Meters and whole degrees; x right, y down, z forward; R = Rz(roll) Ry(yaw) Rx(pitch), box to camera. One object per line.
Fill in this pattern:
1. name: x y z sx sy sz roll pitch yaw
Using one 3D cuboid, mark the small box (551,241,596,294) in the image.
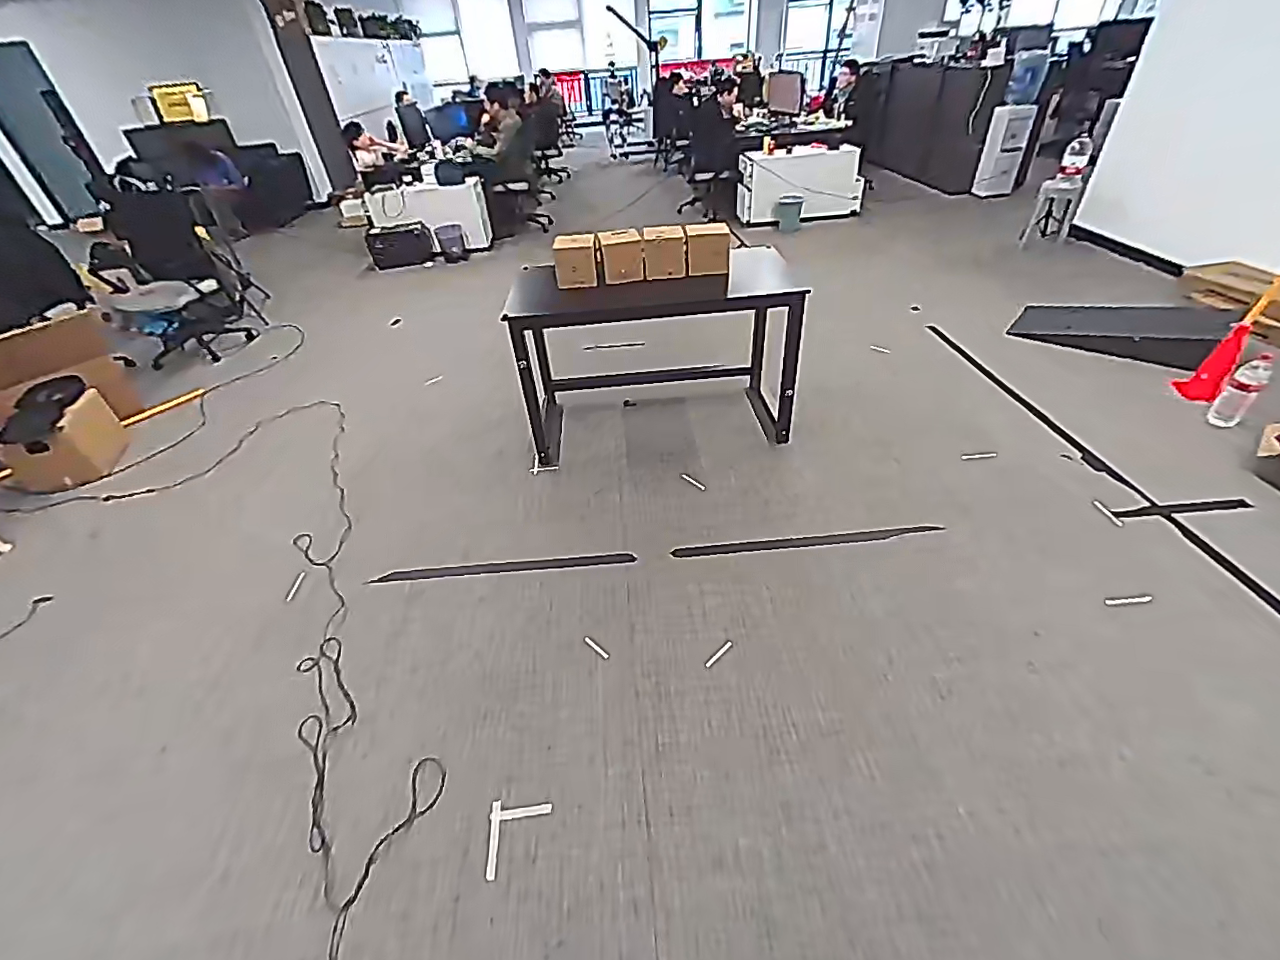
1. small box: -0.280 -0.908 2.321 0.168 0.176 0.179 -4 38 2
